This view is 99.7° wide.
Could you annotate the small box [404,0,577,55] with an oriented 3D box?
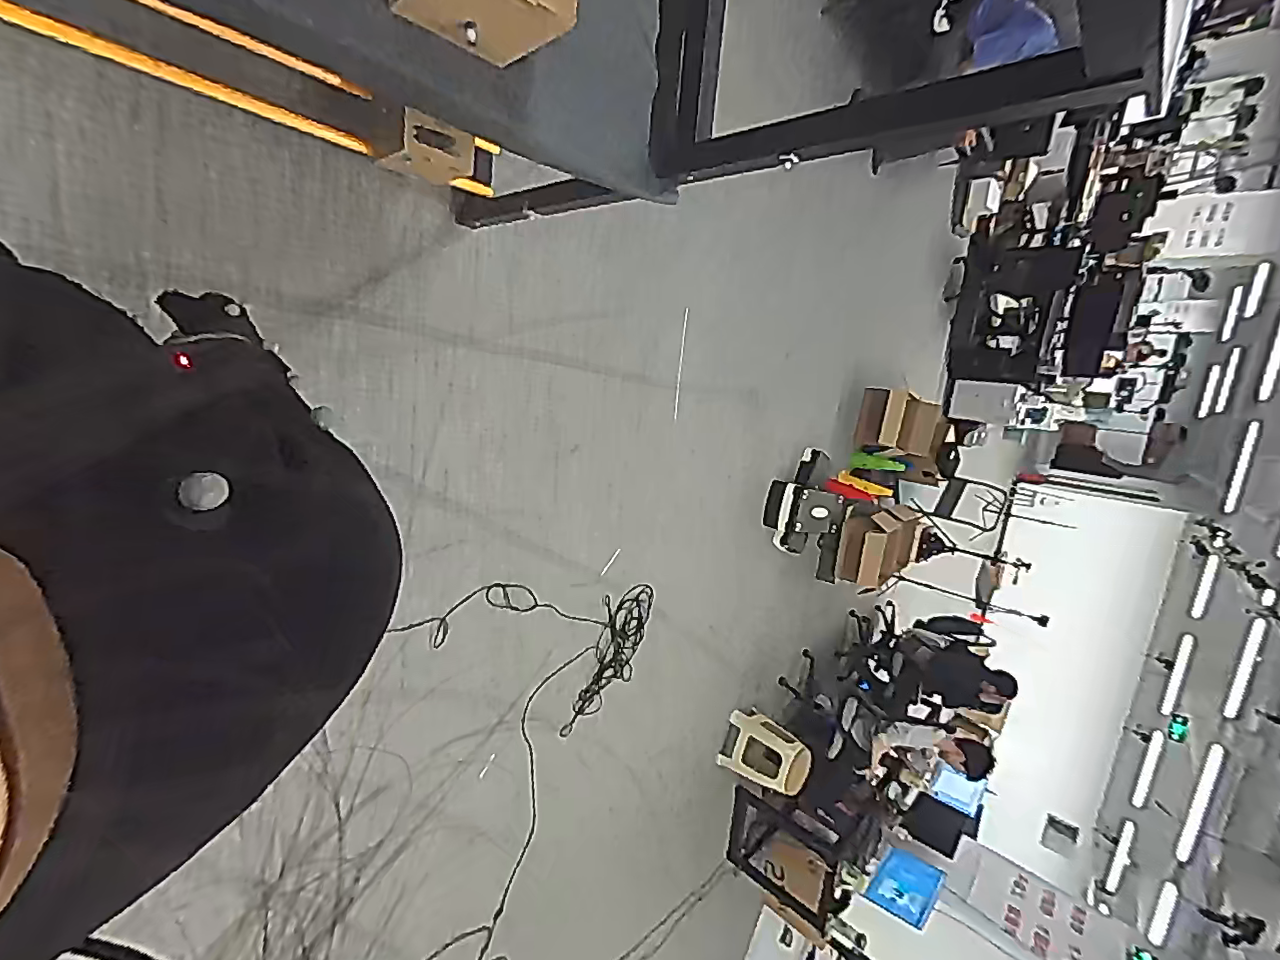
[{"bbox_3d":[-0.190,-0.676,0.660,0.168,0.176,0.179,-9,108,-47],"label":"small box"}]
